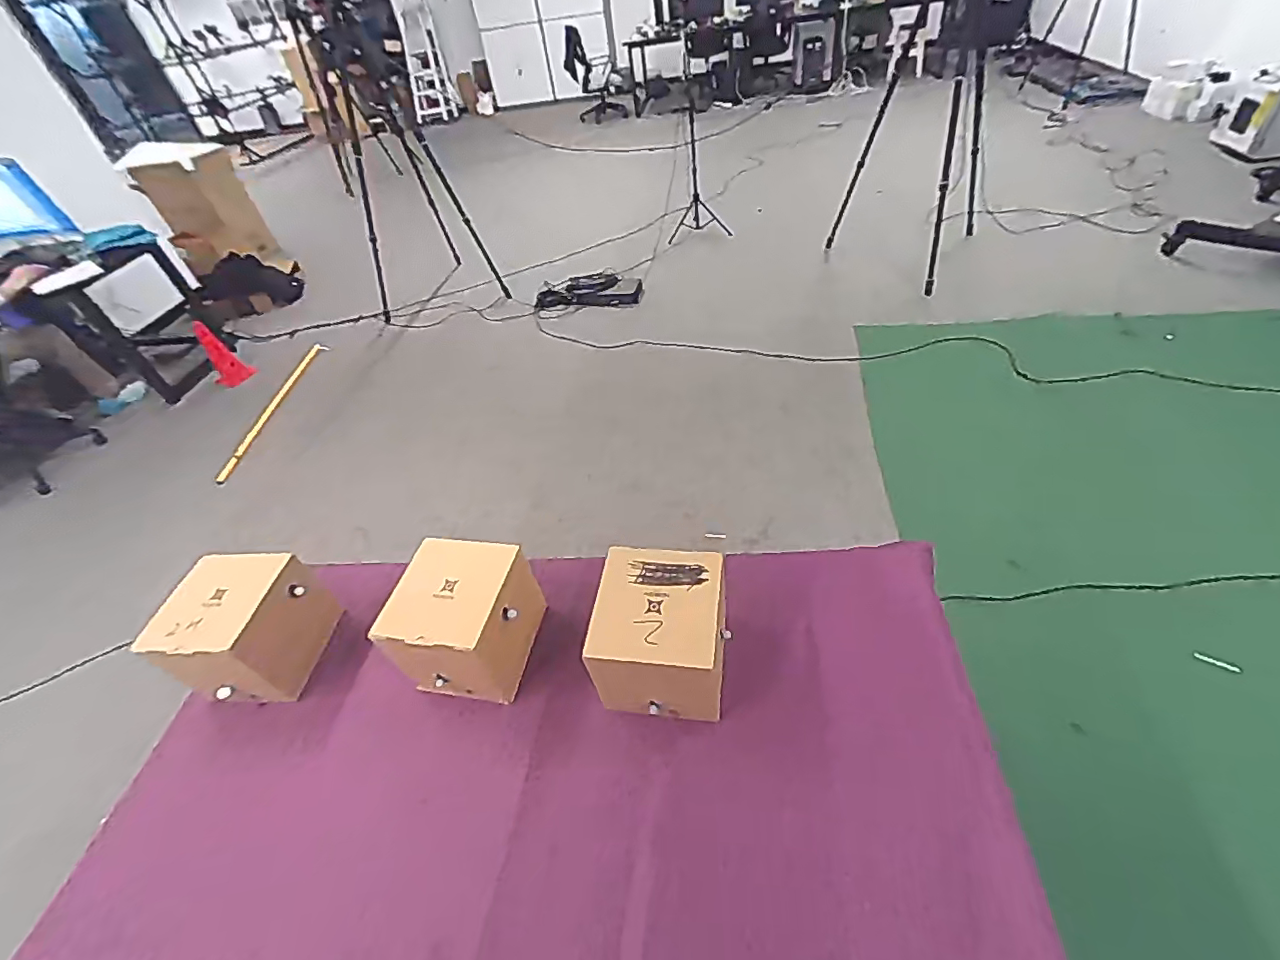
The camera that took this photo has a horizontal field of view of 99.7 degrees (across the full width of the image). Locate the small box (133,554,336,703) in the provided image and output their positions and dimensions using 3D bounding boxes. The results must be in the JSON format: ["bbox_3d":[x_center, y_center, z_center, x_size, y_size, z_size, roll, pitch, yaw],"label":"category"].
[{"bbox_3d":[-0.634,0.239,0.879,0.168,0.176,0.179,-2,45,9],"label":"small box"}]

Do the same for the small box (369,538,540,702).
[{"bbox_3d":[-0.269,0.215,0.838,0.168,0.176,0.179,3,47,14],"label":"small box"}]
